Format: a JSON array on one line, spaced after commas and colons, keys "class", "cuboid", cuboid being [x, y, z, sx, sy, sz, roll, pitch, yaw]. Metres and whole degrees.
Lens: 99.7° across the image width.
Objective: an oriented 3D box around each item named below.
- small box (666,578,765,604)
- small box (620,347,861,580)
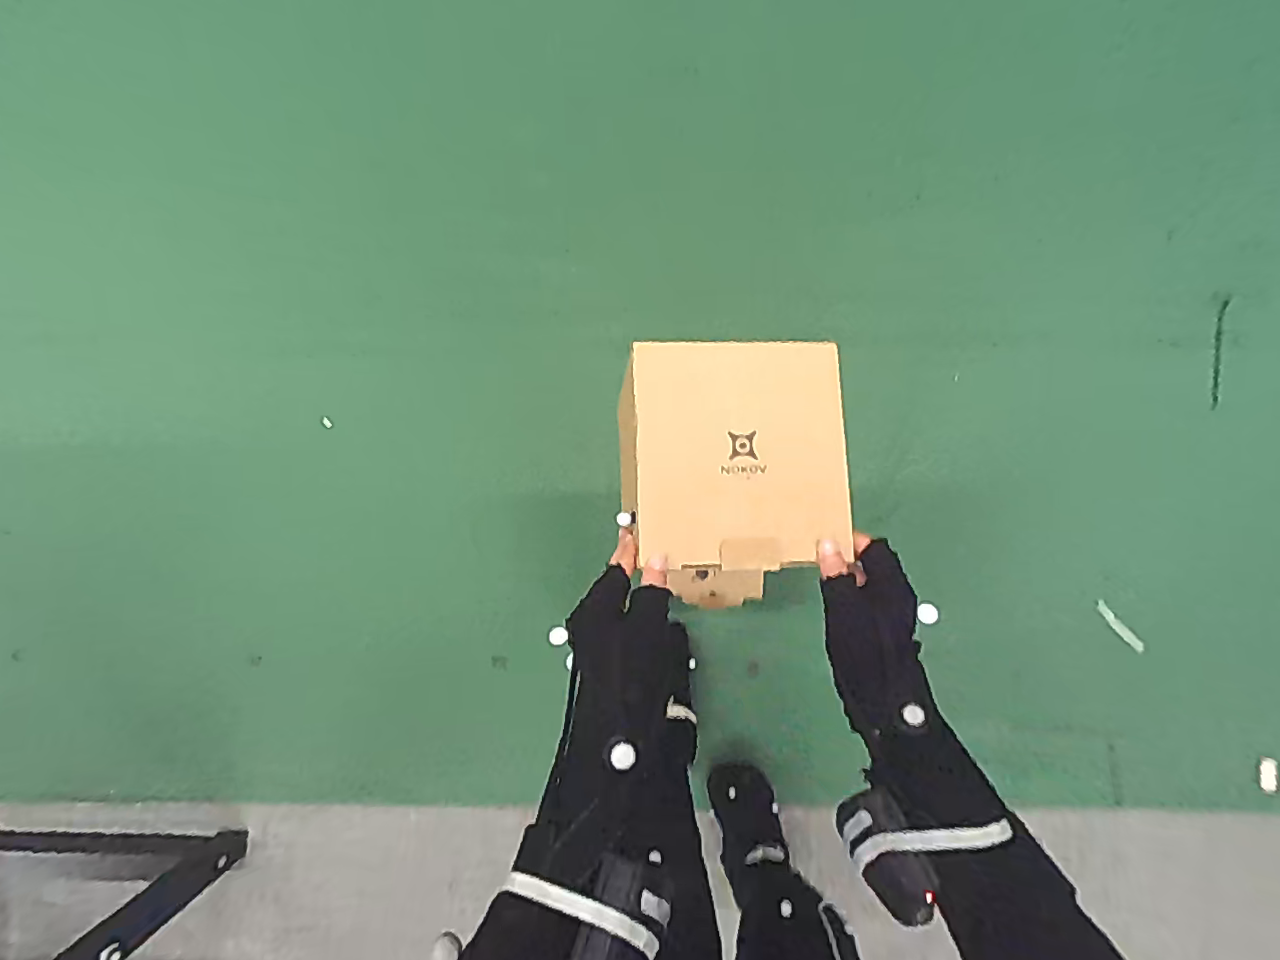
[{"class": "small box", "cuboid": [0.131, 0.121, 0.981, 0.168, 0.176, 0.179, 2, 87, 2]}, {"class": "small box", "cuboid": [0.071, -0.004, 0.480, 0.168, 0.176, 0.179, -1, 82, -6]}]
